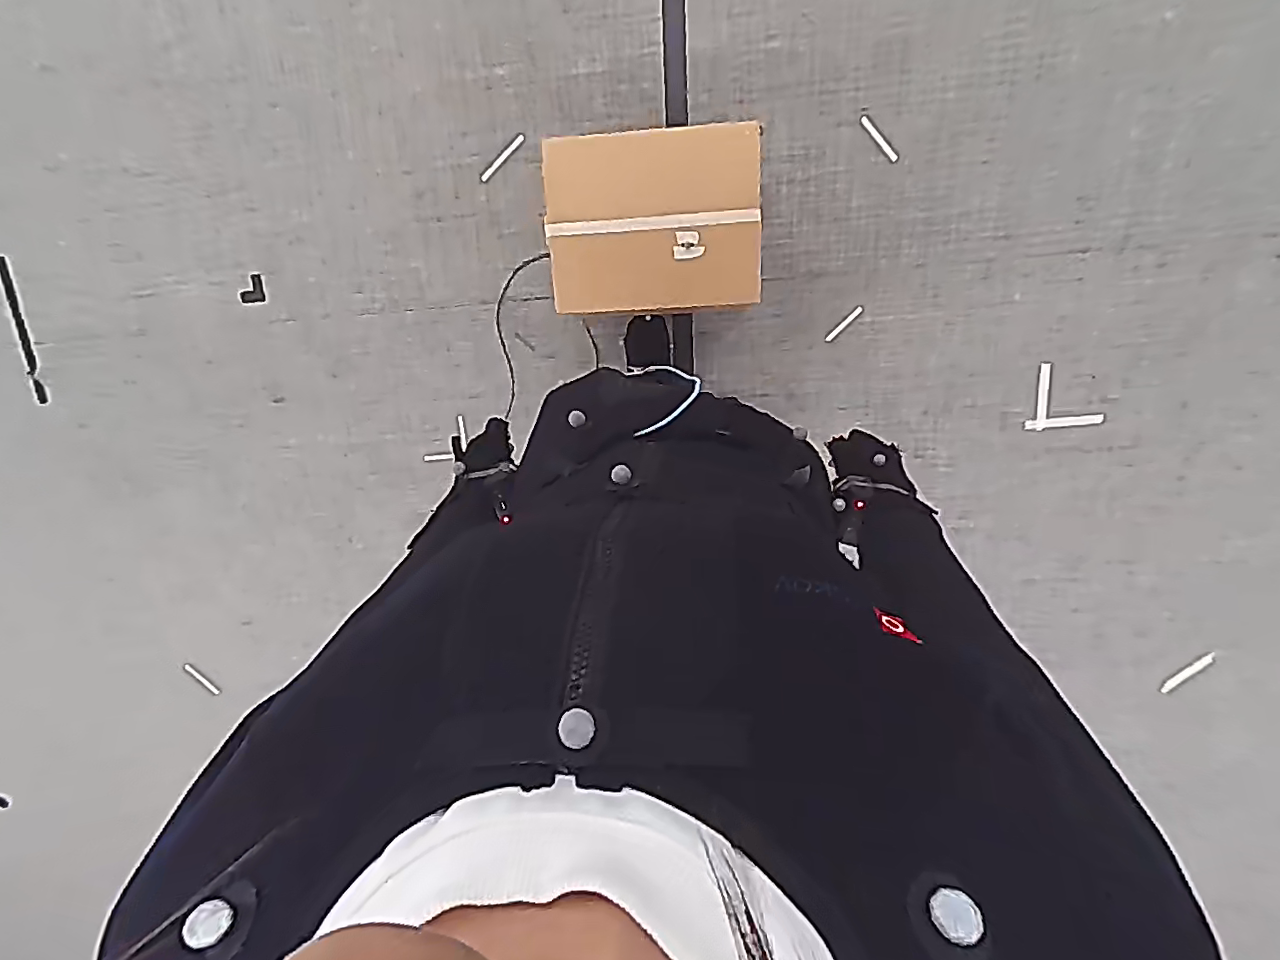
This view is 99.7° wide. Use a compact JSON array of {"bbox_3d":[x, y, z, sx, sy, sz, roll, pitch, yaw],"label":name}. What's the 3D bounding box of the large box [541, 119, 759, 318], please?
[{"bbox_3d":[0.032,-0.525,1.159,0.408,0.320,0.320,-1,106,5],"label":"large box"}]
